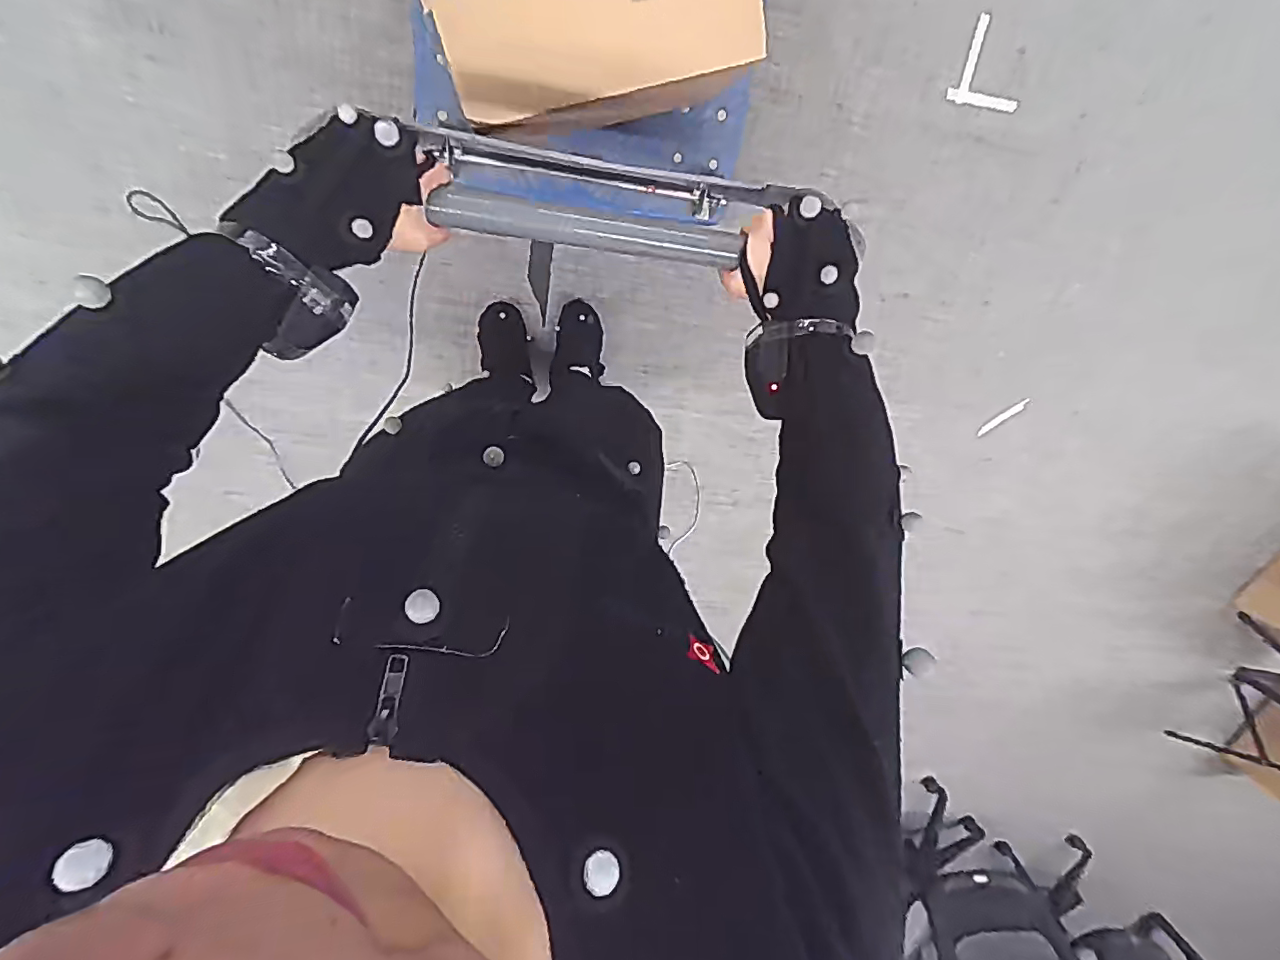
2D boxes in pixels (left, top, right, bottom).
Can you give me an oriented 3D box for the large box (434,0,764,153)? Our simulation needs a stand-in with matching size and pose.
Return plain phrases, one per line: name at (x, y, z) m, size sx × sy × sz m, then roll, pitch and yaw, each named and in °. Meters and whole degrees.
large box at (-0.084, -0.704, 0.773) m, size 0.408 × 0.320 × 0.320 m, roll -16°, pitch 118°, yaw -2°
